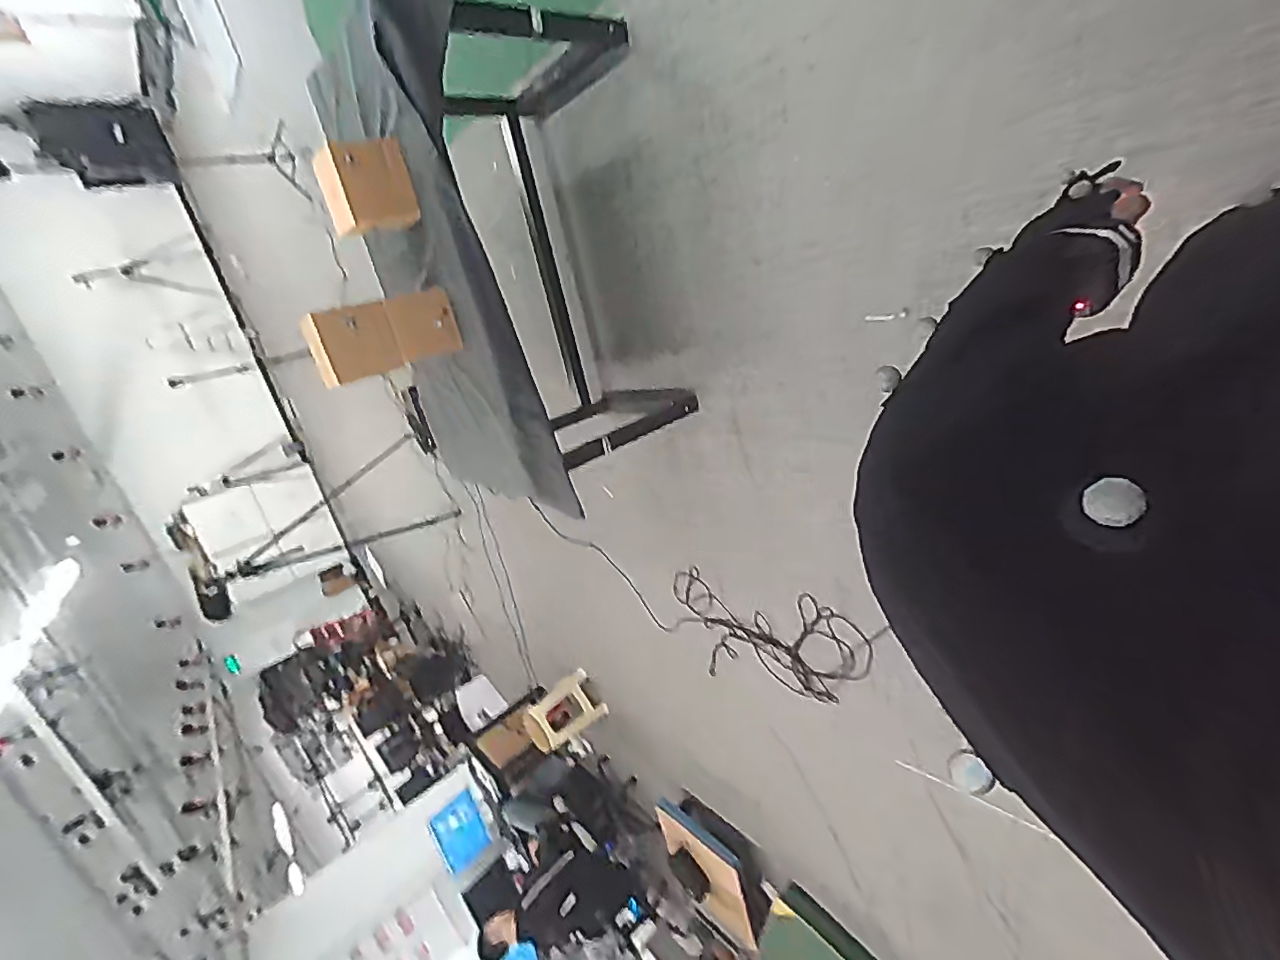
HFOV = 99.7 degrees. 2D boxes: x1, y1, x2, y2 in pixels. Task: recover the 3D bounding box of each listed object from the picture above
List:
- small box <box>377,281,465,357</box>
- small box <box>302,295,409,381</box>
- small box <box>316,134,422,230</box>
[{"bbox_3d":[-0.602,-0.430,1.462,0.179,0.176,0.168,9,120,48],"label":"small box"},{"bbox_3d":[-0.718,-0.362,1.371,0.168,0.176,0.179,9,121,50],"label":"small box"},{"bbox_3d":[-0.668,-0.738,1.343,0.168,0.176,0.179,12,121,48],"label":"small box"}]
